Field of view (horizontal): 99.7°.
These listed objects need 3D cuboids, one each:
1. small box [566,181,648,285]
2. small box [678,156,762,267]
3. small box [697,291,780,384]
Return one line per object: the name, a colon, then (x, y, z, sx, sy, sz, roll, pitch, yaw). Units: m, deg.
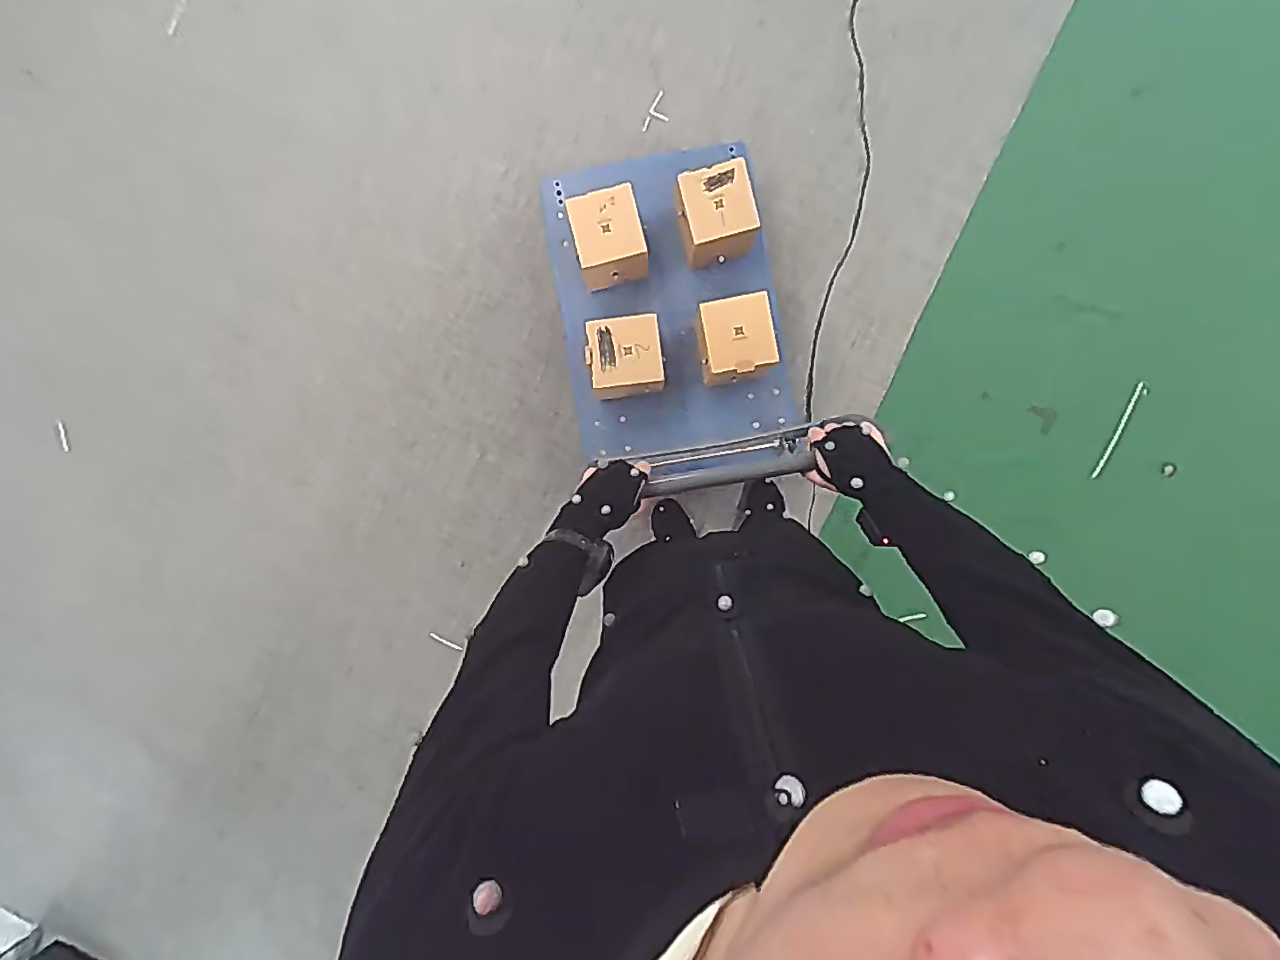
small box: (-0.077, -0.612, 1.370, 0.168, 0.176, 0.179, -14, 90, 1)
small box: (0.193, -0.667, 1.361, 0.168, 0.176, 0.179, -14, 91, 3)
small box: (0.241, -0.352, 1.363, 0.168, 0.176, 0.179, -10, 91, 2)
